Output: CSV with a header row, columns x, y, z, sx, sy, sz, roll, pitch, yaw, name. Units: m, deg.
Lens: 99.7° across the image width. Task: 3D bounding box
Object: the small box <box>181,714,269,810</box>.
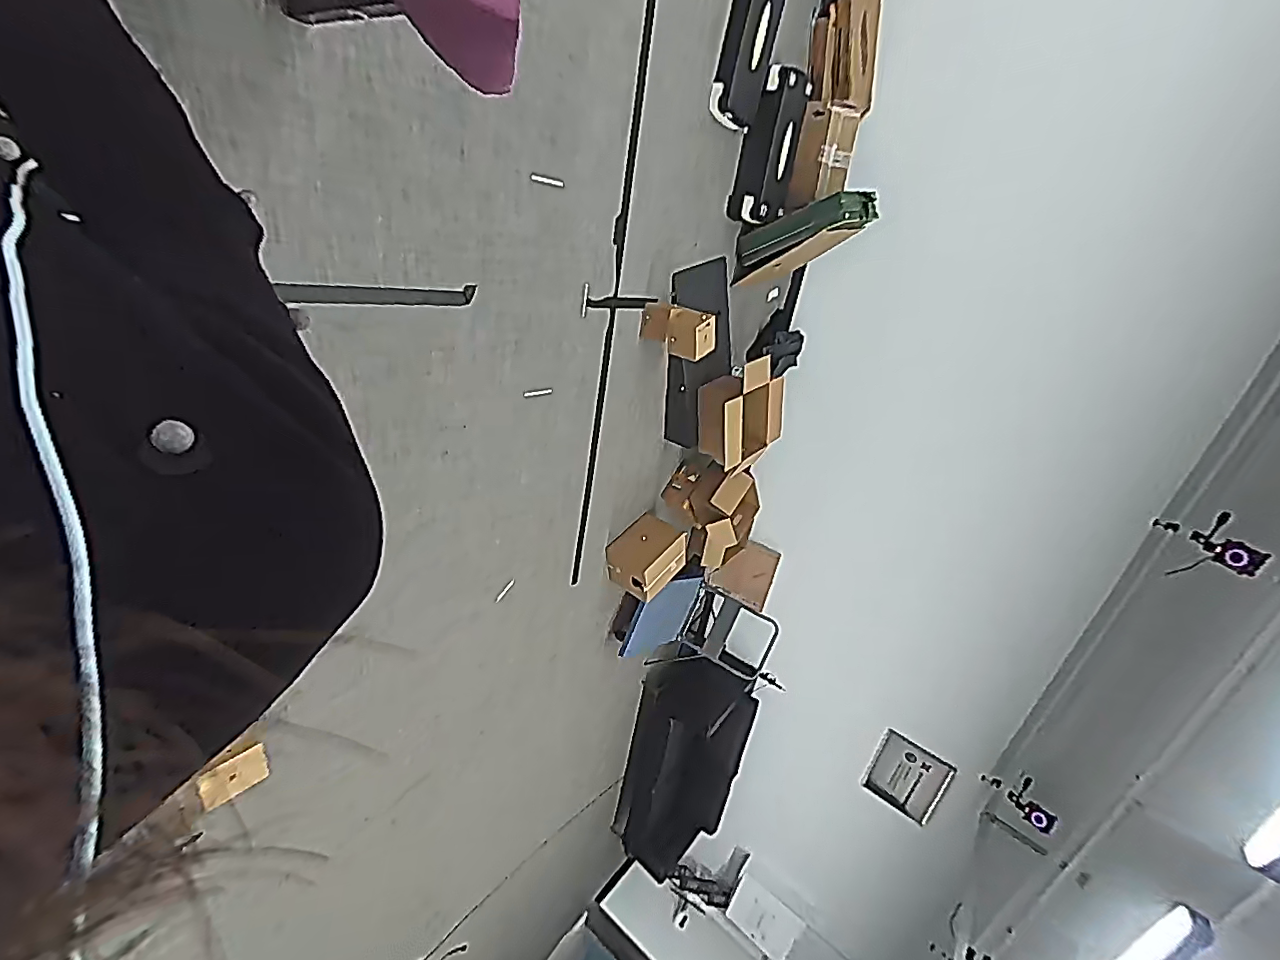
x,y,z,sx,sy,sz,roll,pitch,yaw,name
-1.340,0.900,1.741,0.179,0.176,0.168,-25,132,-49,small box
